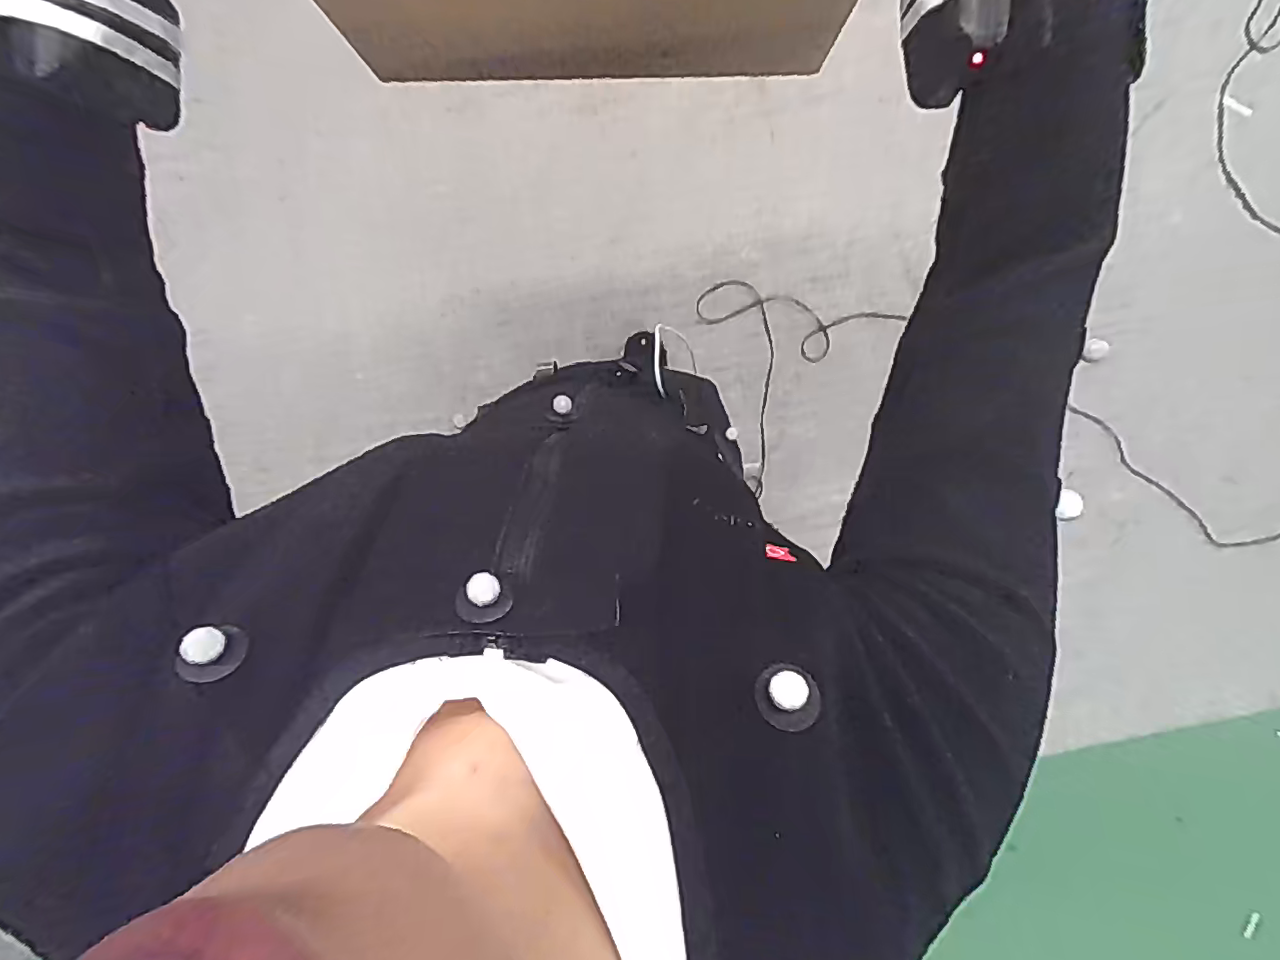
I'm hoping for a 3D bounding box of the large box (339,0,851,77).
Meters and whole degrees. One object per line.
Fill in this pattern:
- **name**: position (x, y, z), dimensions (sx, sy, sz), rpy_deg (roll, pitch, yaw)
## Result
- **large box**: position (-0.034, -0.503, 0.329), dimensions (0.408, 0.320, 0.320), rpy_deg (-2, 99, -1)
